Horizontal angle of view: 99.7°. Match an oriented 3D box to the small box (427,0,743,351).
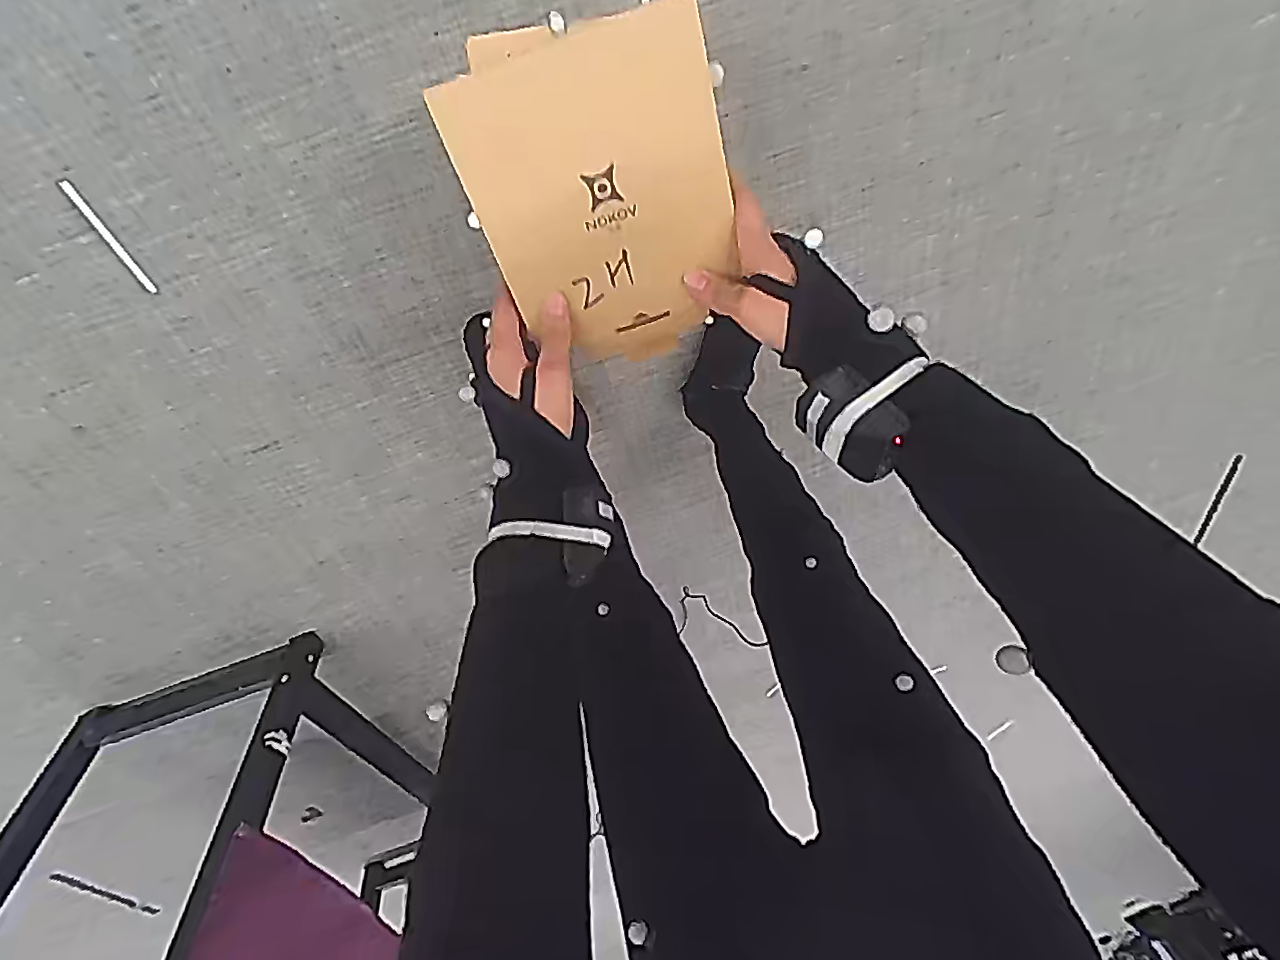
[{"bbox_3d":[-0.034,-0.232,0.417,0.168,0.176,0.179,-17,128,5],"label":"small box"}]
